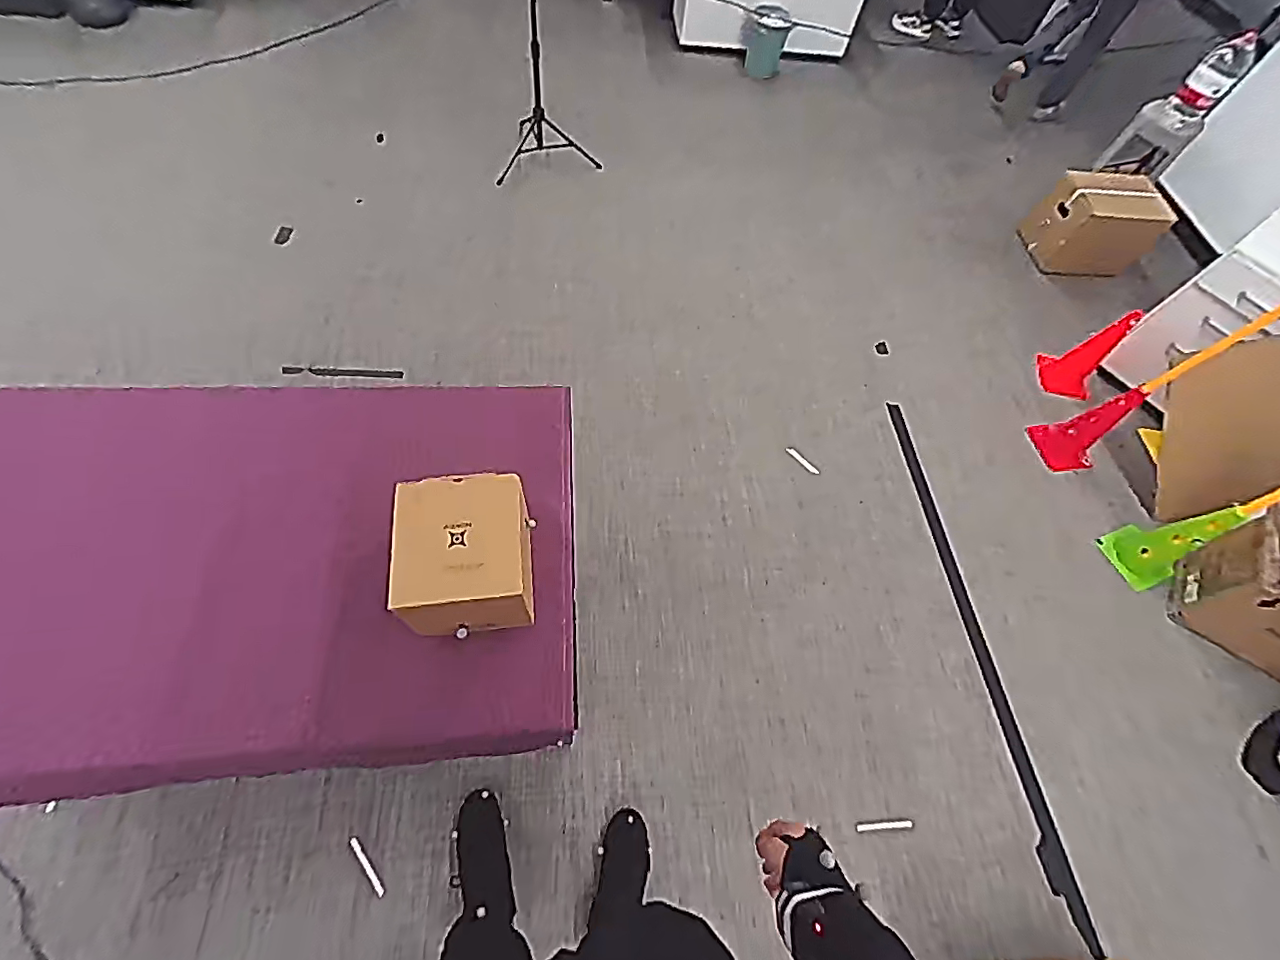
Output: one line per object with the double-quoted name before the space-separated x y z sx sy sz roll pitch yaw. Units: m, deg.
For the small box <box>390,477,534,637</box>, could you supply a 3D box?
"small box" -0.244 0.114 0.784 0.168 0.176 0.179 -4 62 -8
